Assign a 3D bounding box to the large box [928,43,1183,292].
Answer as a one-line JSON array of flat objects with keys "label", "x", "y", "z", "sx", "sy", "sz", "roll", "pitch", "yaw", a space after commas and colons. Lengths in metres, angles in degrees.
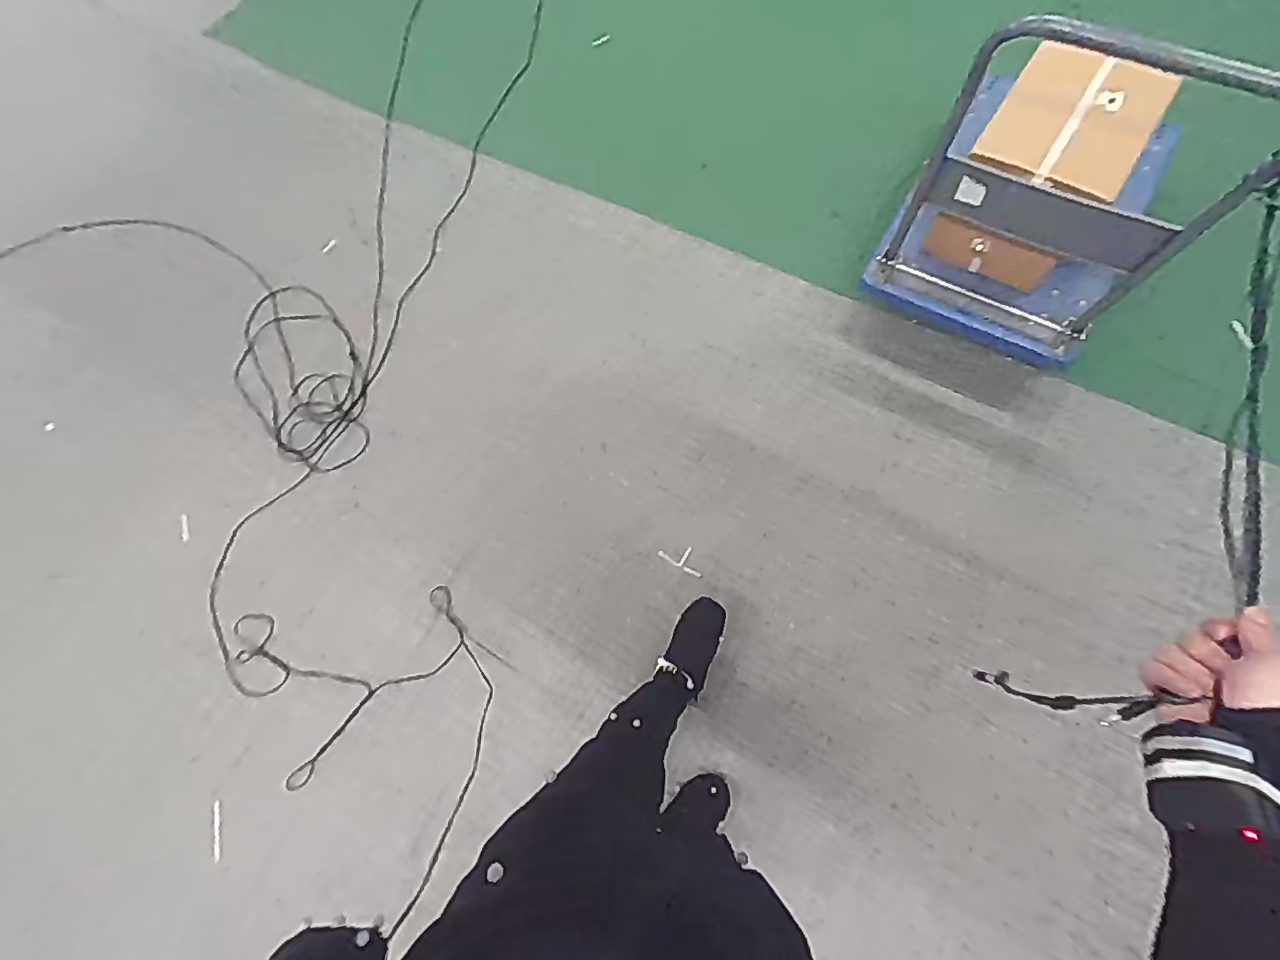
[{"label": "large box", "x": 1.003, "y": -0.764, "z": 1.352, "sx": 0.320, "sy": 0.320, "sz": 0.408, "roll": 33, "pitch": 78, "yaw": 15}]
